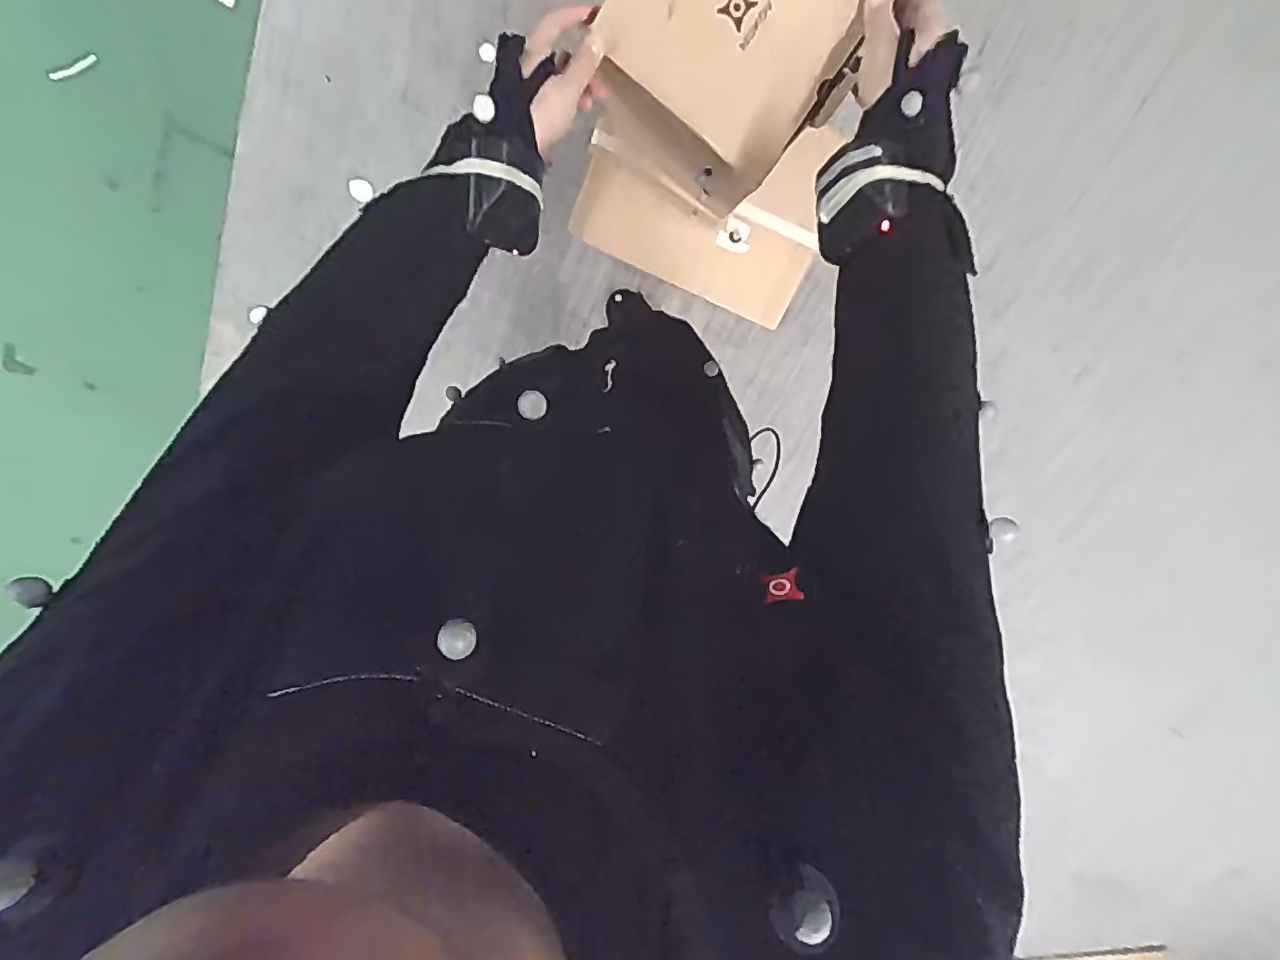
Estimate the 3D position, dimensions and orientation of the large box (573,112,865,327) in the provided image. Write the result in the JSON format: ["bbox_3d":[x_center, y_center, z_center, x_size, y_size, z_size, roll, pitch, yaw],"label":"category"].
[{"bbox_3d":[0.125,-0.526,1.031,0.408,0.320,0.320,22,111,-7],"label":"large box"}]

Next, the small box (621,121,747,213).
[{"bbox_3d":[0.087,-0.438,0.631,0.179,0.176,0.168,33,108,-11],"label":"small box"}]

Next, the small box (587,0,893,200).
[{"bbox_3d":[0.077,-0.377,0.481,0.179,0.176,0.168,34,107,-10],"label":"small box"}]
